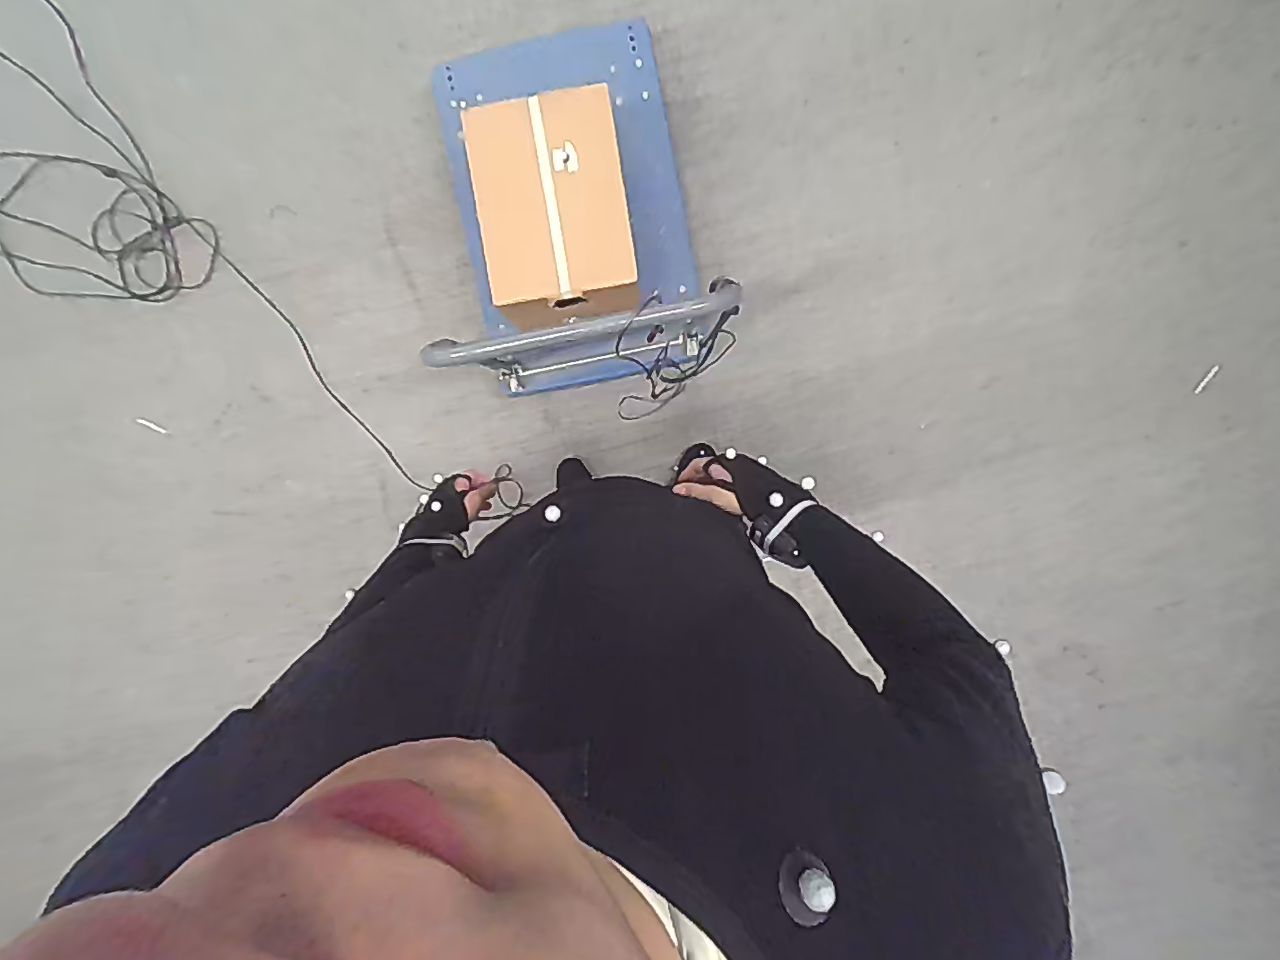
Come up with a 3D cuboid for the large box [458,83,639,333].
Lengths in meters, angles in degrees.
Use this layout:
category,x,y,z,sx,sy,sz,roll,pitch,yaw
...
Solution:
category,x,y,z,sx,sy,sz,roll,pitch,yaw
large box,-0.187,-0.594,1.258,0.320,0.320,0.408,-9,94,1
